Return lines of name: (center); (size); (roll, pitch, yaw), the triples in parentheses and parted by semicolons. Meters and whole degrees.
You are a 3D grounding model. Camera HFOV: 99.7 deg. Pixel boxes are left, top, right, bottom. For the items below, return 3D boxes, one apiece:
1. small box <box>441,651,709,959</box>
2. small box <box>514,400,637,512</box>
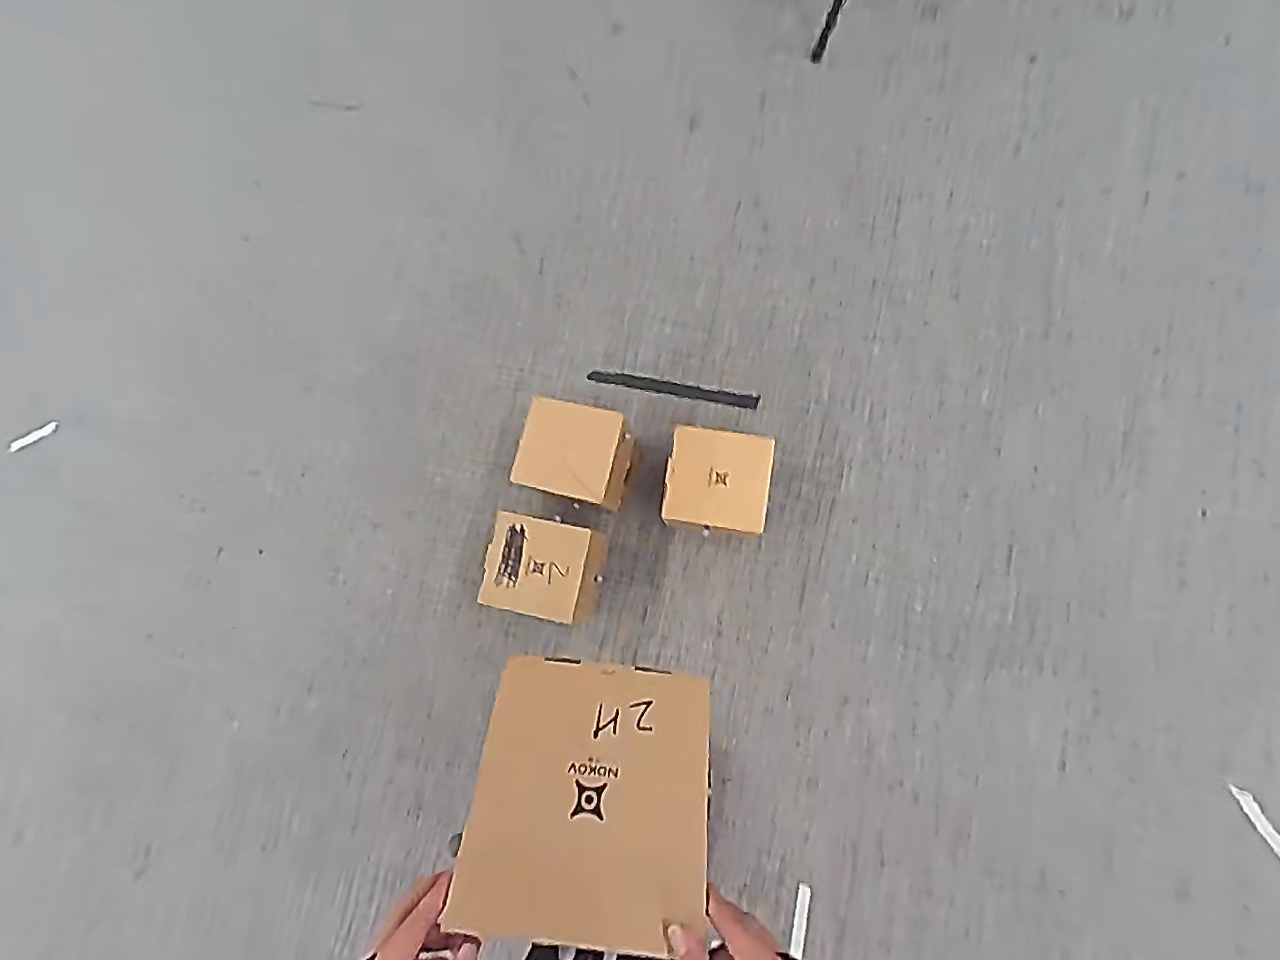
small box: (-0.039, 0.261, 0.443); (0.168, 0.176, 0.179); (6, 54, 0)
small box: (-0.118, -0.041, 1.043); (0.179, 0.176, 0.168); (13, 82, 9)
